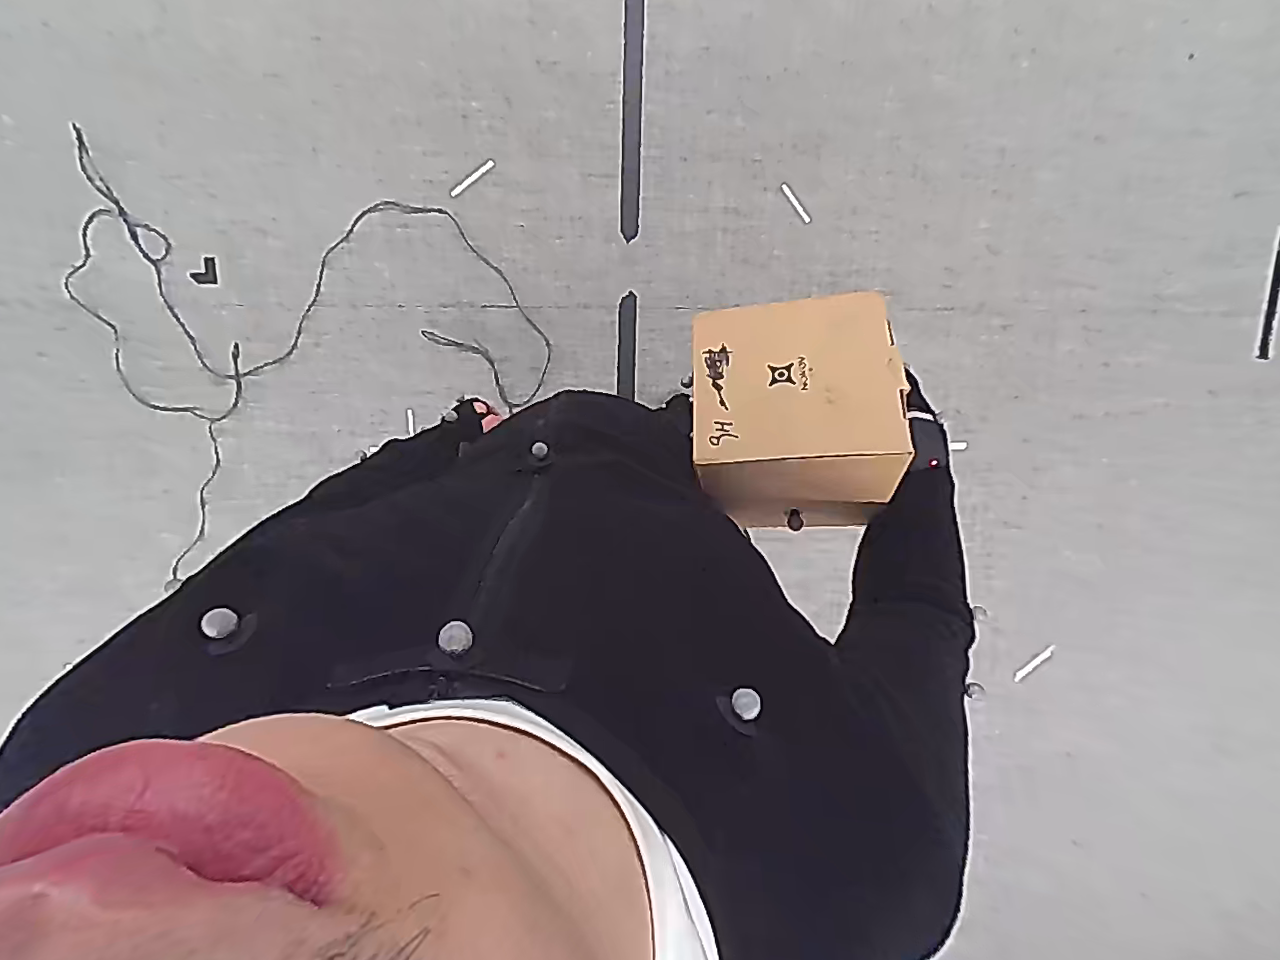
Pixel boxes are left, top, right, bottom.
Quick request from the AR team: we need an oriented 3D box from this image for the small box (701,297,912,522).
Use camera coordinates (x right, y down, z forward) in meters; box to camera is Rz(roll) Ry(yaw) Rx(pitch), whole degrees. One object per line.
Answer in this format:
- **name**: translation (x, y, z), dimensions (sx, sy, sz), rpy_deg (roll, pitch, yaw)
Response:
- **small box**: translation (0.158, -0.061, 0.560), dimensions (0.179, 0.176, 0.168), rpy_deg (-2, 65, 12)
